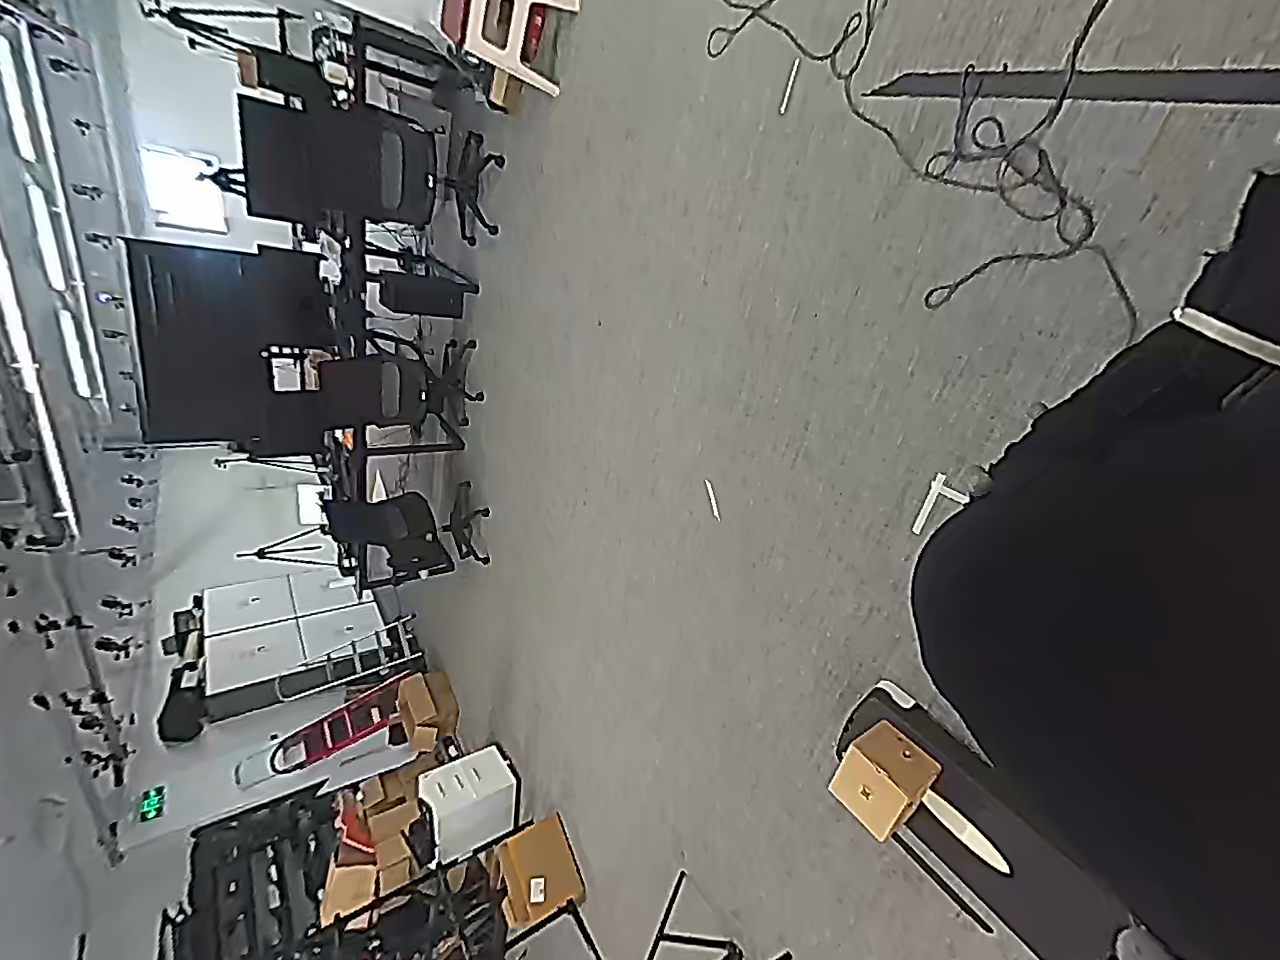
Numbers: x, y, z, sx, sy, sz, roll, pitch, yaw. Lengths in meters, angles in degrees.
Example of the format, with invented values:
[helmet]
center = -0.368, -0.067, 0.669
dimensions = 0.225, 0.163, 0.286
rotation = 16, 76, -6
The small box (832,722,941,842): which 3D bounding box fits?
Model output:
[small box]
center = 0.633, 0.765, 1.384
dimensions = 0.168, 0.176, 0.179
rotation = 37, 124, 43
